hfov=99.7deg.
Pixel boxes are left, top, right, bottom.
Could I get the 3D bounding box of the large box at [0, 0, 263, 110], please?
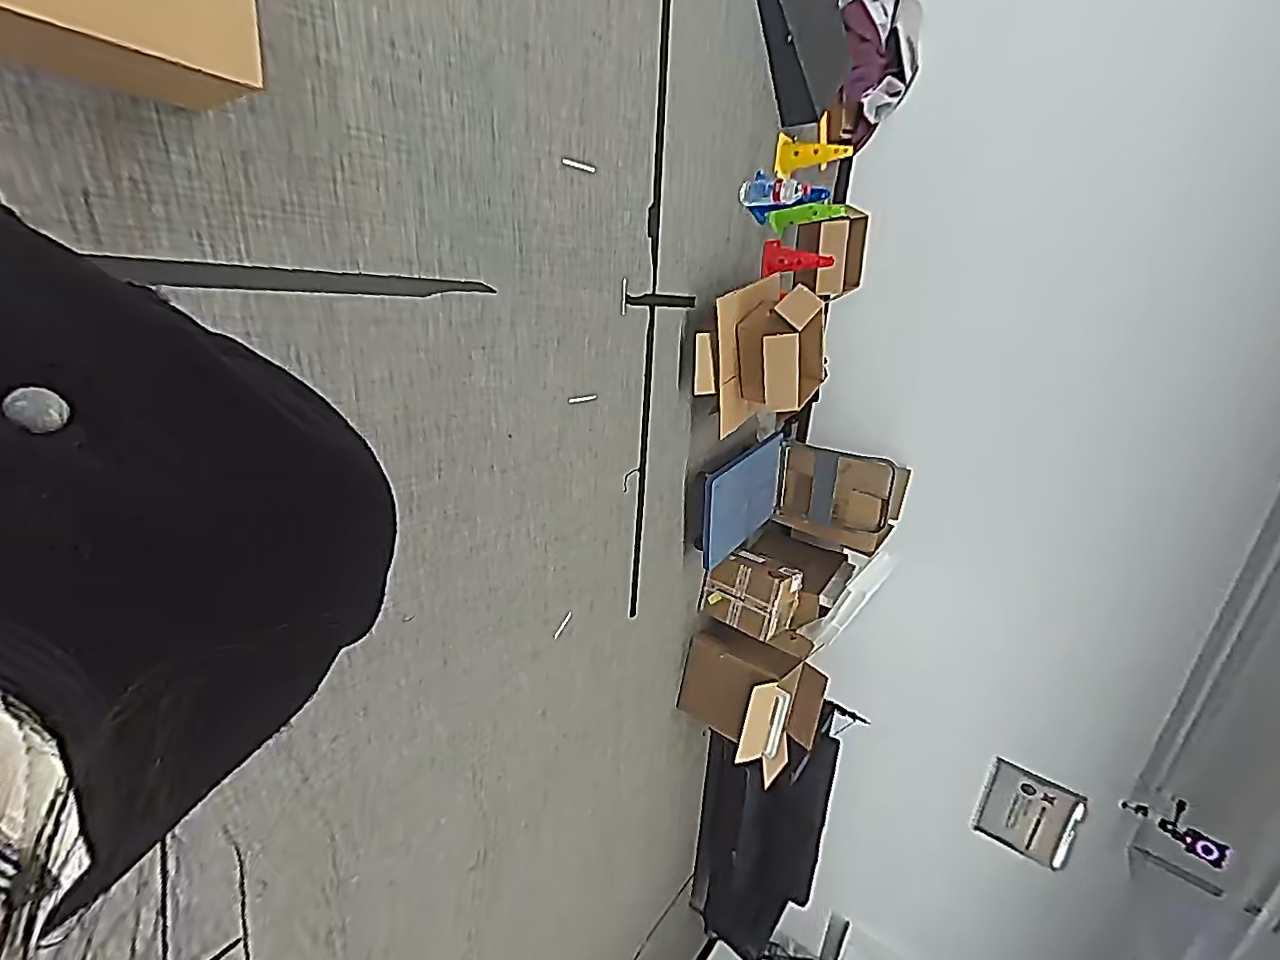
[{"bbox_3d":[-0.857,-0.794,0.785,0.408,0.320,0.320,-18,119,-51],"label":"large box"}]
